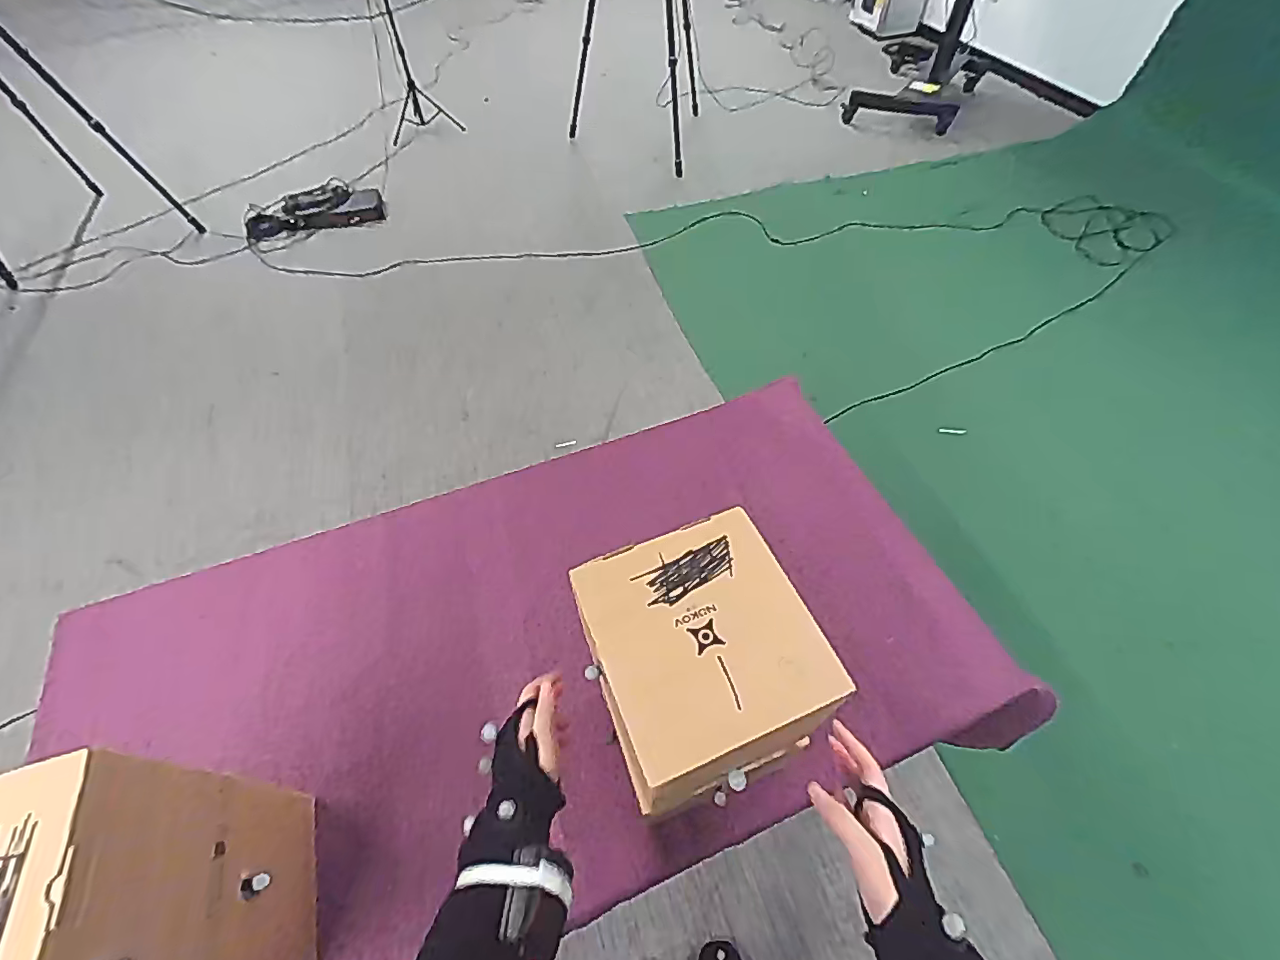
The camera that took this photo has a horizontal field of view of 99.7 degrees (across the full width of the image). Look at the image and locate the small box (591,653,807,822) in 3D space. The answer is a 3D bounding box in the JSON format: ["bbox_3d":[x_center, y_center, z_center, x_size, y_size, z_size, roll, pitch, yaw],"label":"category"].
[{"bbox_3d":[0.057,0.264,0.613,0.179,0.176,0.168,-18,57,-11],"label":"small box"}]

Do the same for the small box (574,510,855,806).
[{"bbox_3d":[0.050,0.161,0.483,0.168,0.176,0.179,-20,57,-12],"label":"small box"}]

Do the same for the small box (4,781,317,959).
[{"bbox_3d":[-0.431,0.419,0.511,0.168,0.176,0.179,-18,56,-12],"label":"small box"}]
